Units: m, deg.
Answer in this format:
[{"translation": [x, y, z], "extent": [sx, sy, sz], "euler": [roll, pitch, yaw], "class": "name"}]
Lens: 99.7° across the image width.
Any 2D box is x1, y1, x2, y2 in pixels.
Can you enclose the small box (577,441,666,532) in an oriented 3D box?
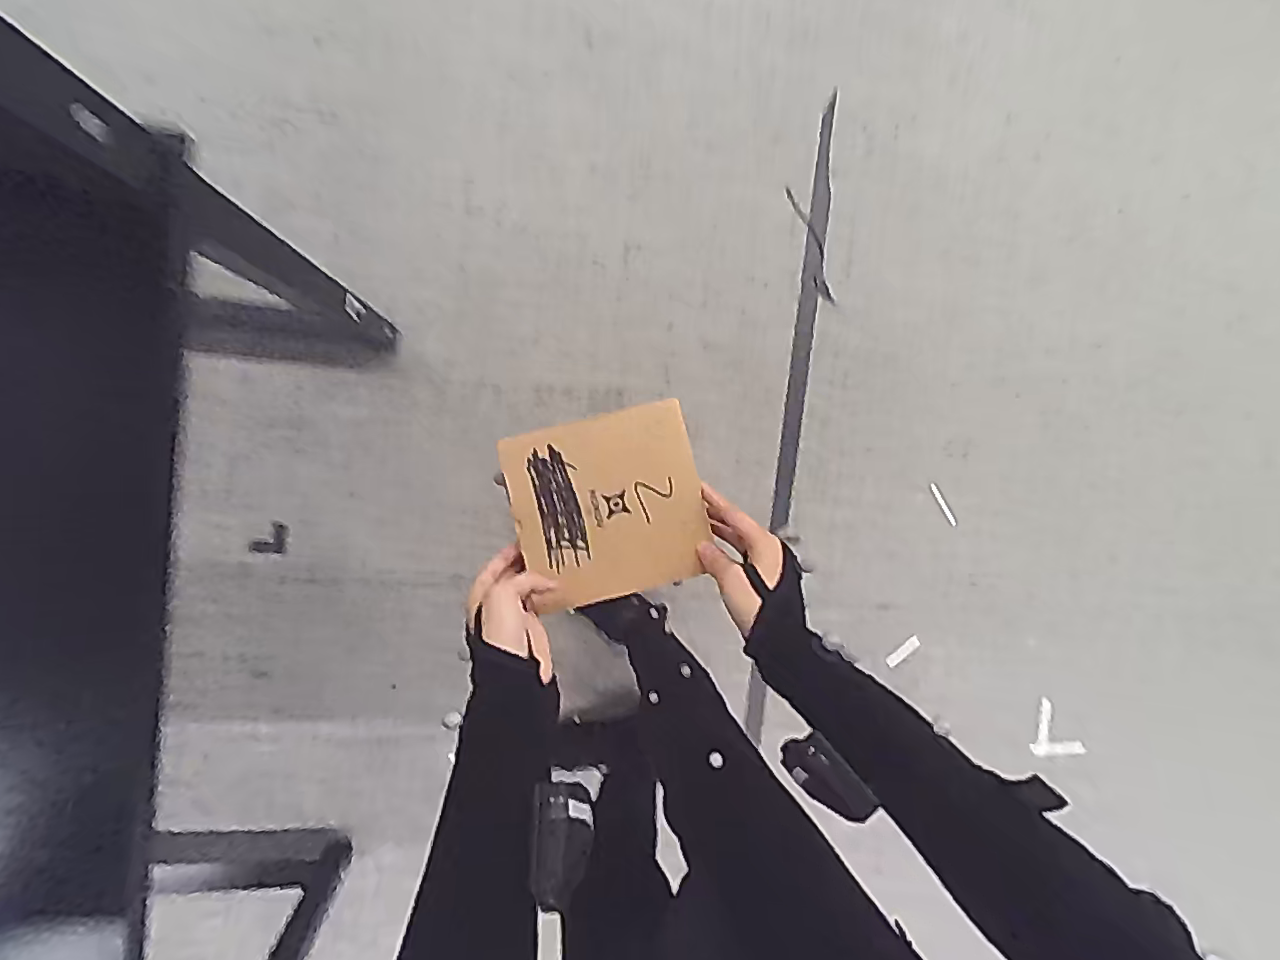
[{"translation": [-0.046, 0.011, 1.162], "extent": [0.168, 0.176, 0.179], "euler": [3, 93, -10], "class": "small box"}]
